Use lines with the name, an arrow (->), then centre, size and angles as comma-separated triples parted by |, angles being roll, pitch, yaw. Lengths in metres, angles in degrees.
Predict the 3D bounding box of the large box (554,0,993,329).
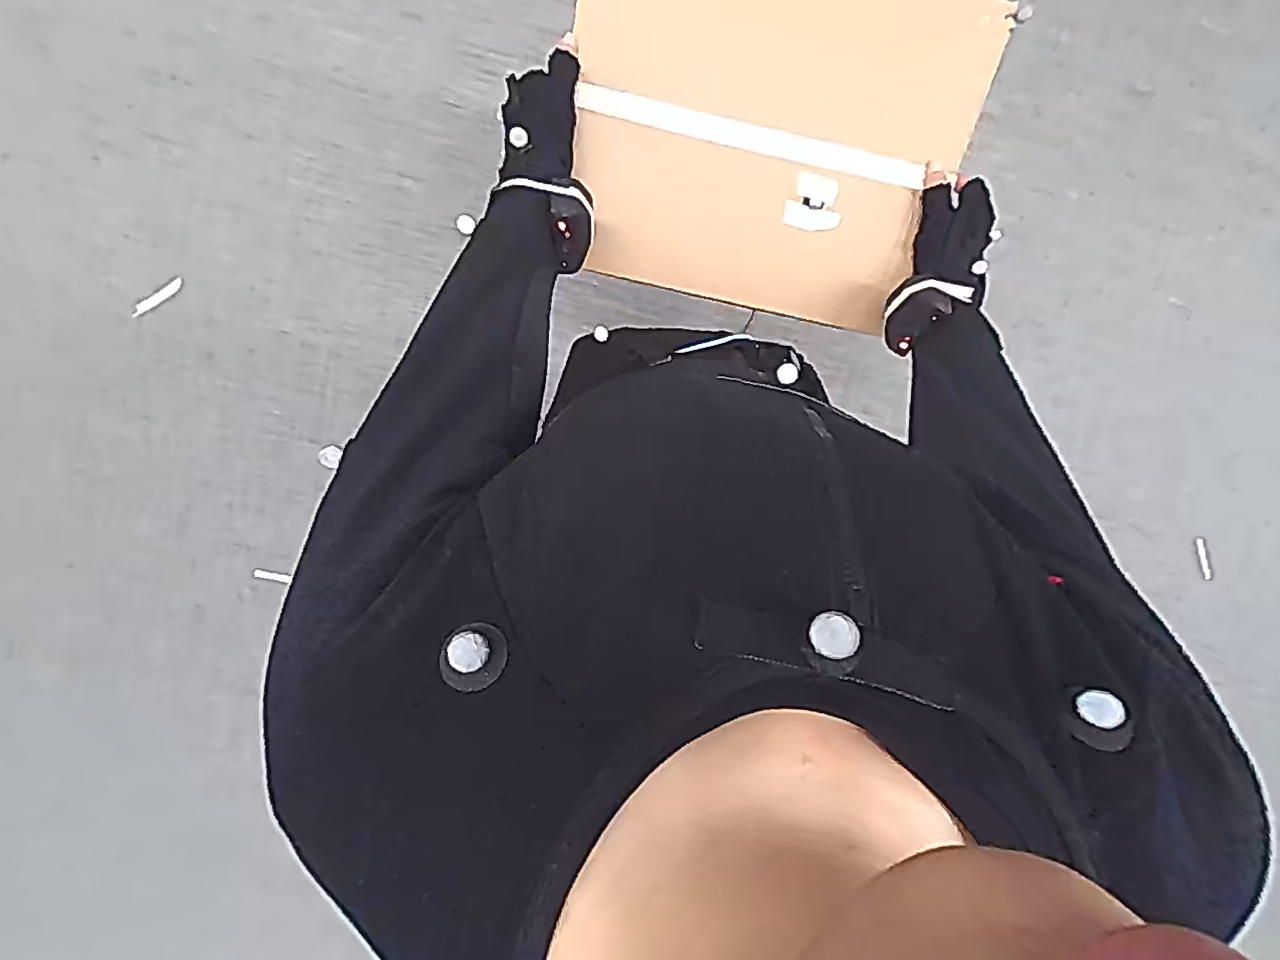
large box -> 0.122, -0.401, 0.703 | 0.408, 0.320, 0.320 | 11, 111, -5
